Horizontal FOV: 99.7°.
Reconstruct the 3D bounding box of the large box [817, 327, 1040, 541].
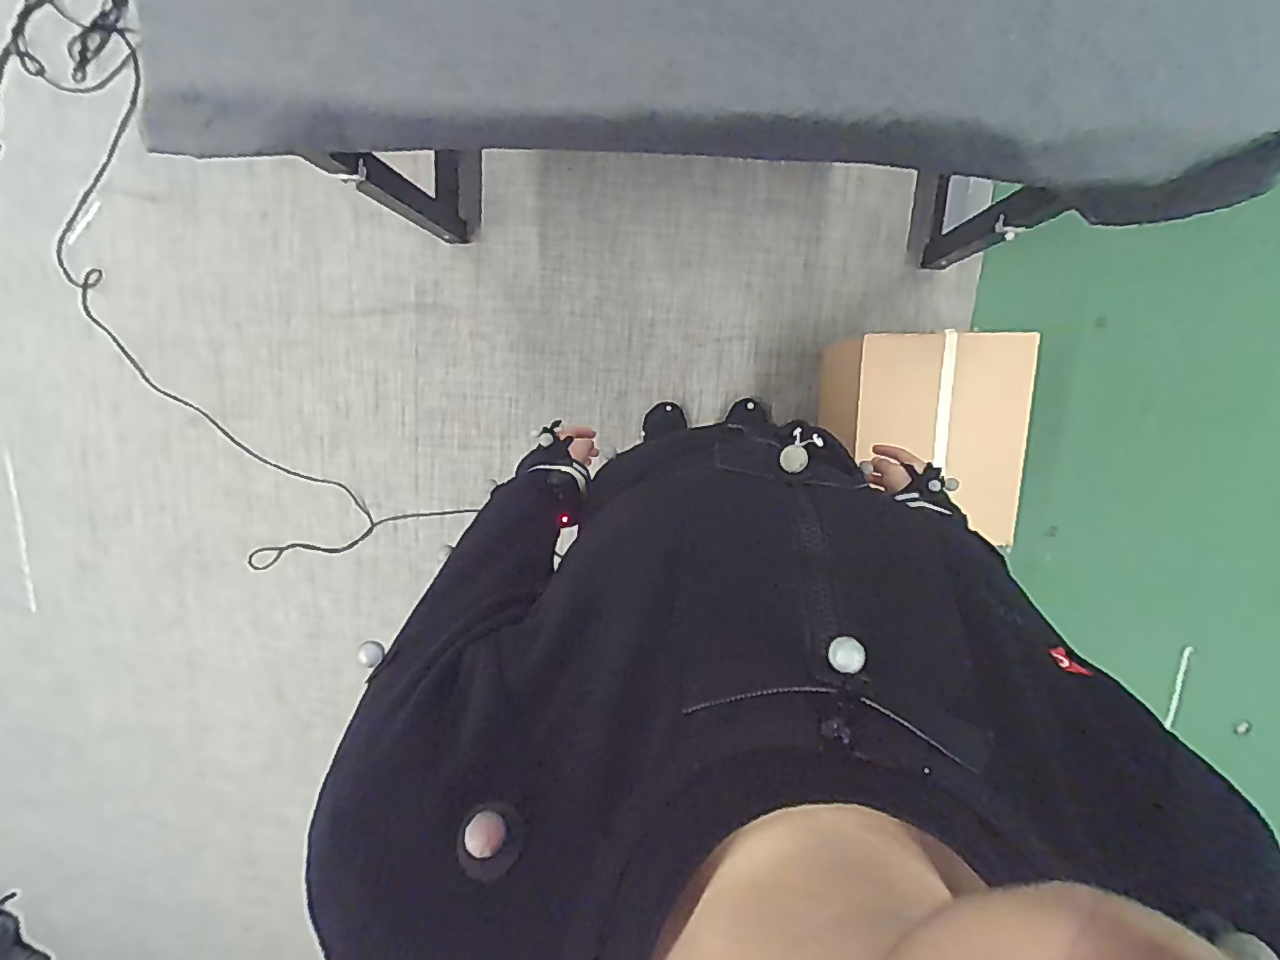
[{"bbox_3d":[0.578,-0.107,1.157,0.320,0.320,0.408,1,101,5],"label":"large box"}]
